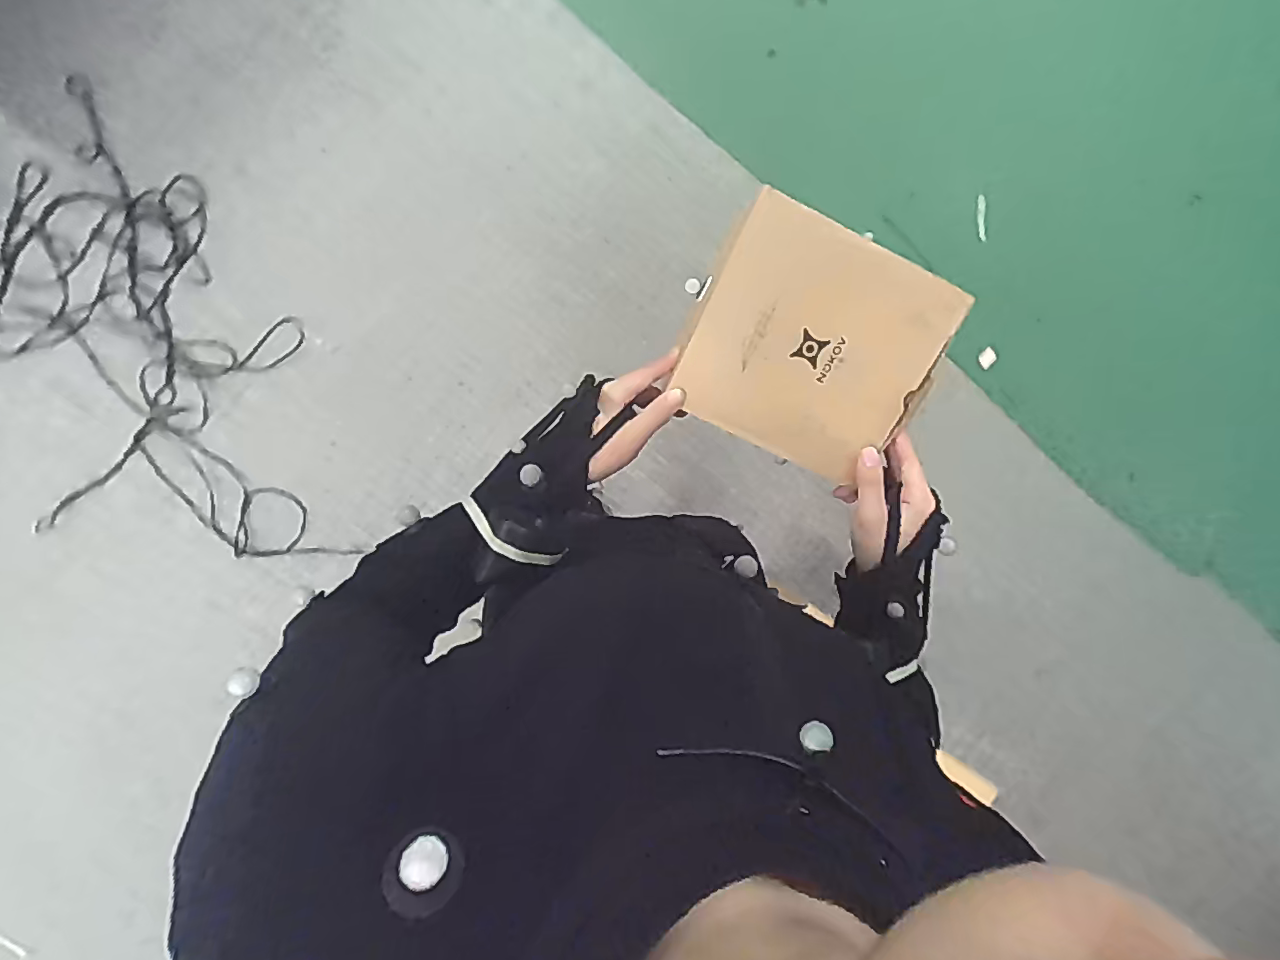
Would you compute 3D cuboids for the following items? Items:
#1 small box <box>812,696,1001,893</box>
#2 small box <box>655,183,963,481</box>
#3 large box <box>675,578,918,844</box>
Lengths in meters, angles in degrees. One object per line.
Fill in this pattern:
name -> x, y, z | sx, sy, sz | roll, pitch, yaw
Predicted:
small box -> 0.404, 0.479, 0.854 | 0.168, 0.176, 0.179 | 35, 89, -6
small box -> 0.125, -0.124, 0.477 | 0.179, 0.176, 0.168 | 24, 105, -4
large box -> 0.336, 0.501, 1.257 | 0.320, 0.320, 0.408 | 36, 89, -5
